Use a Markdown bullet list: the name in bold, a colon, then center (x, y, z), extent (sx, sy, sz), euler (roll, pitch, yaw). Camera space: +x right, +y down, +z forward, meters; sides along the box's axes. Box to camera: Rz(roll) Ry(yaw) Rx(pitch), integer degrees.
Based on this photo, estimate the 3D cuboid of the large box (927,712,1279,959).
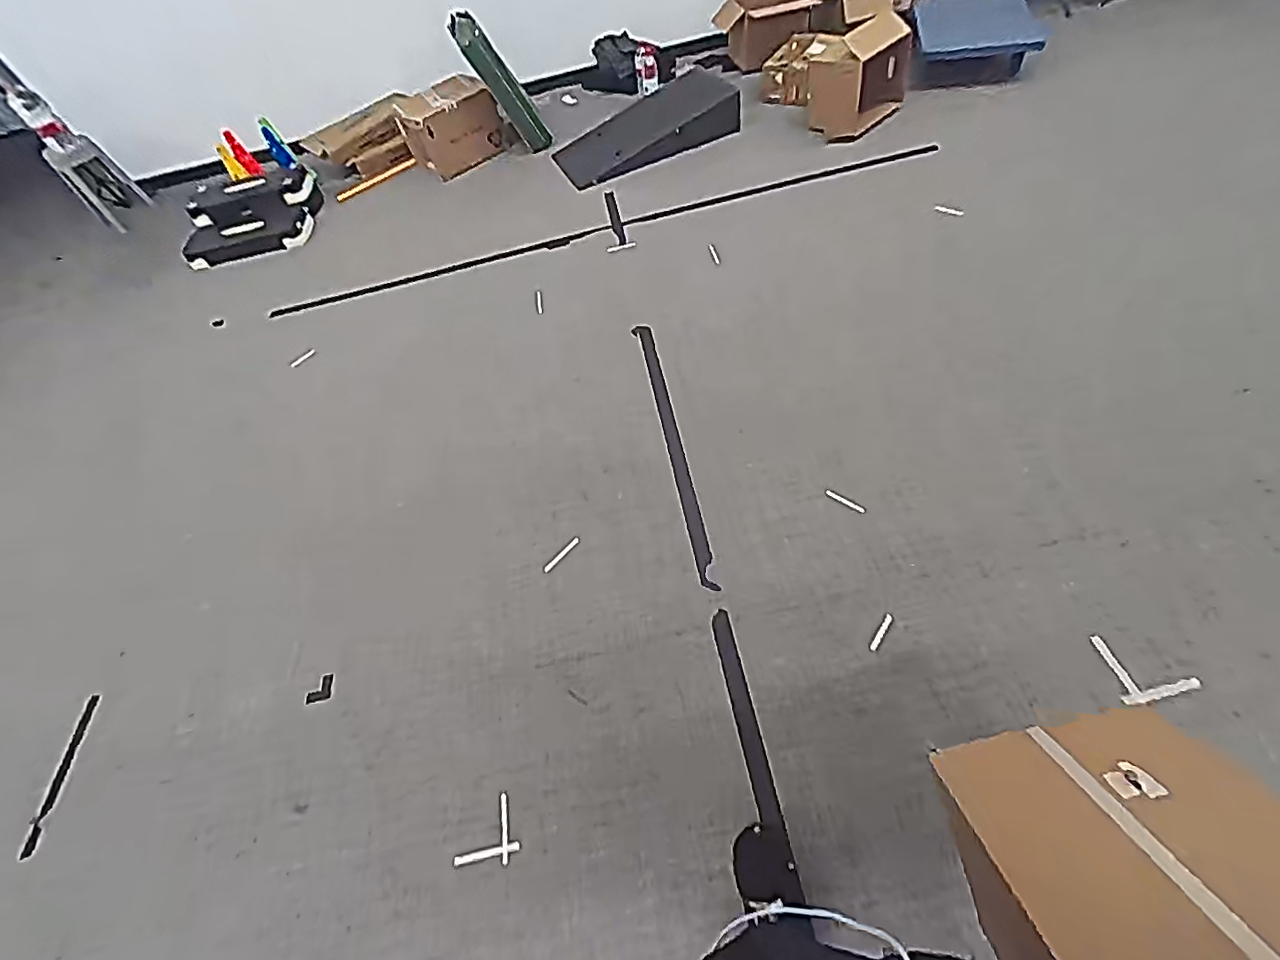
- **large box**: center (0.620, 0.557, 0.642), extent (0.320, 0.408, 0.320), euler (-17, 95, 8)
